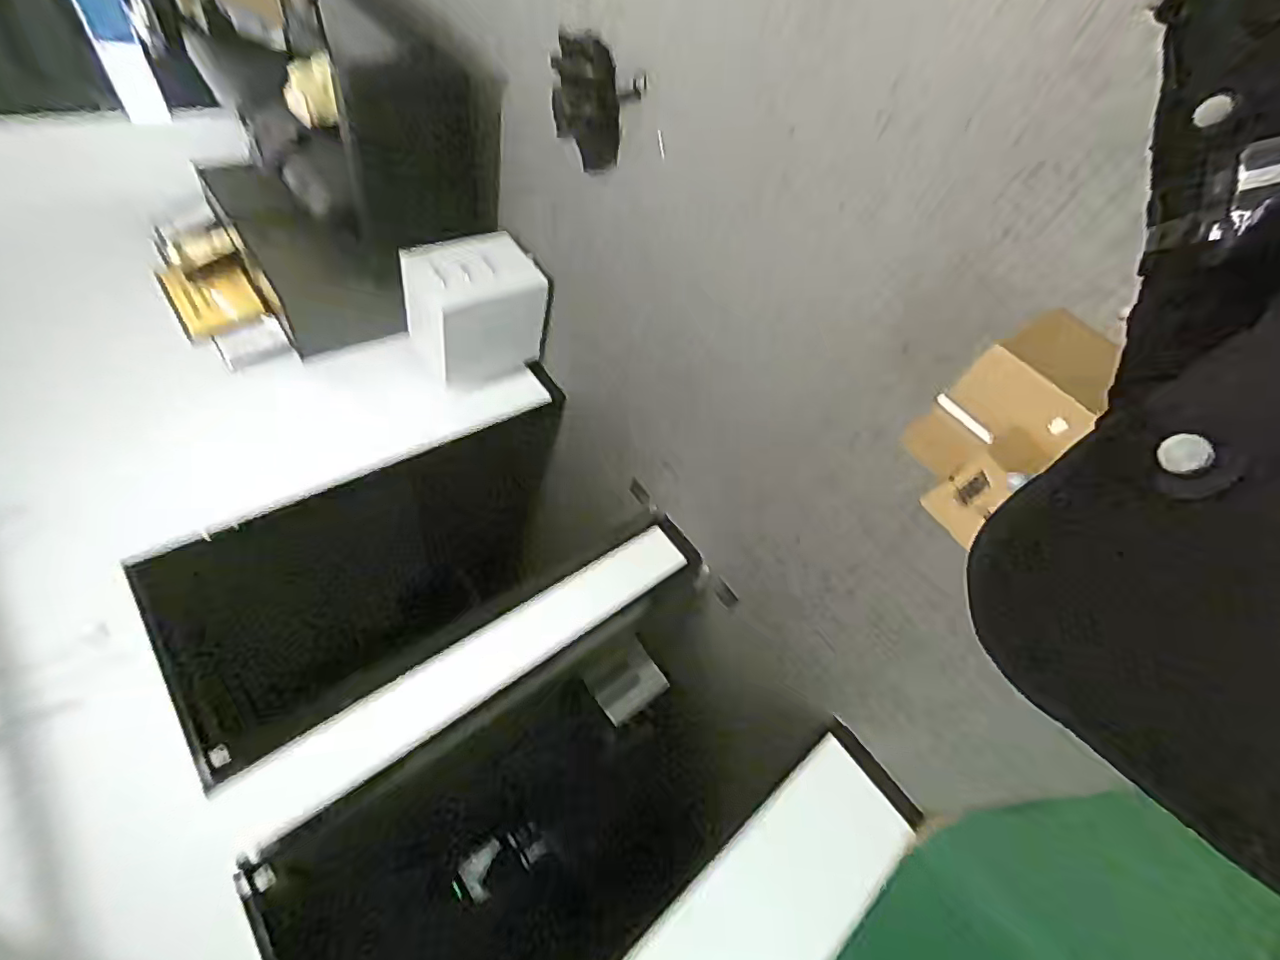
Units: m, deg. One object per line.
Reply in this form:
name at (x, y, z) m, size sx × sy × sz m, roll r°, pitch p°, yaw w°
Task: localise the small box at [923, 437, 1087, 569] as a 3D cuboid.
small box at (0.700, 0.035, 1.040) m, size 0.179 × 0.176 × 0.168 m, roll 53°, pitch 144°, yaw 15°
